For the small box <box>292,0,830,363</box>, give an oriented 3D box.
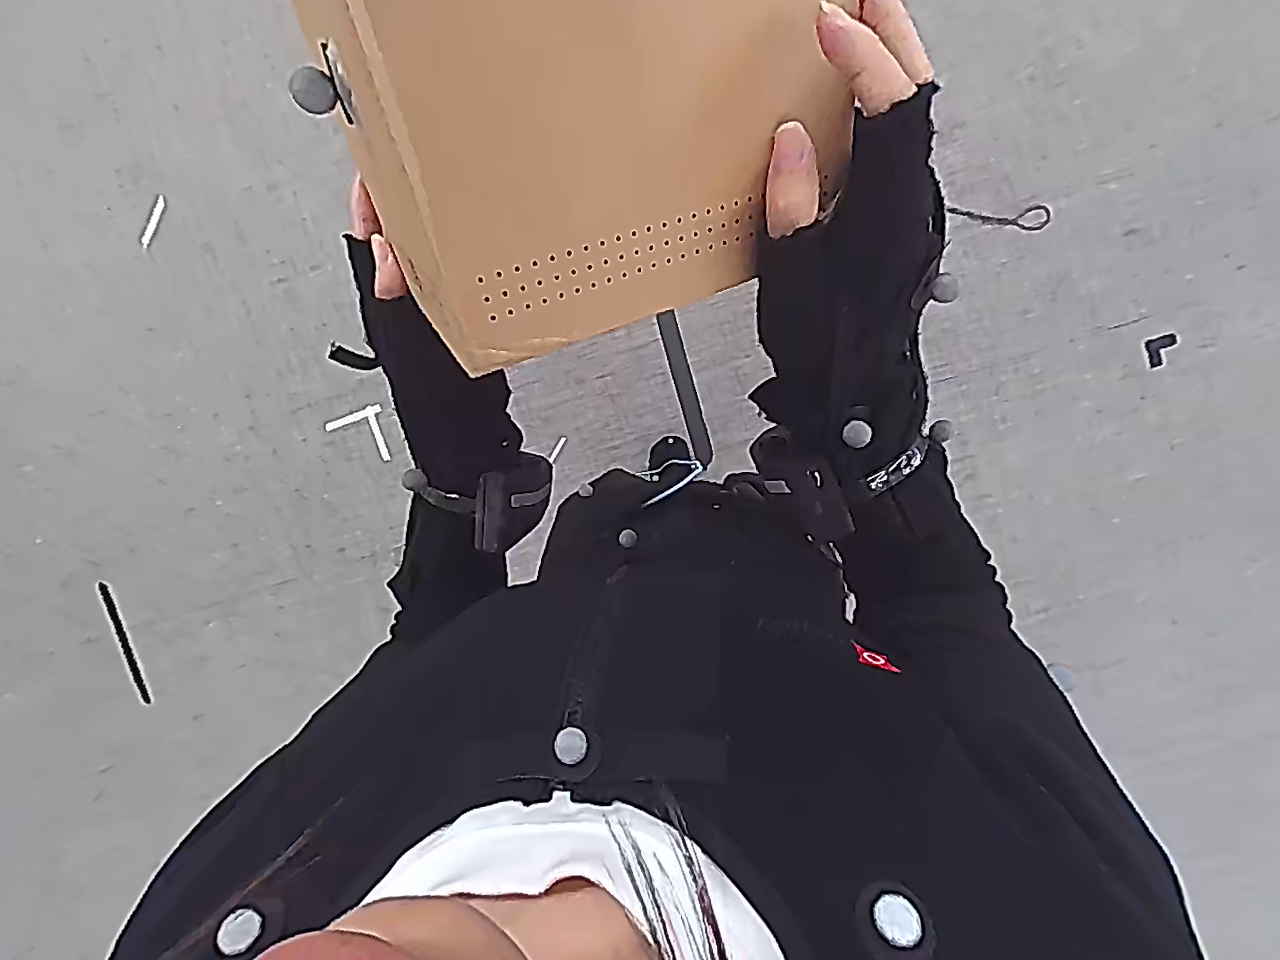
[{"bbox_3d":[-0.034,-0.170,0.233,0.179,0.168,0.176,-24,129,-17],"label":"small box"}]
